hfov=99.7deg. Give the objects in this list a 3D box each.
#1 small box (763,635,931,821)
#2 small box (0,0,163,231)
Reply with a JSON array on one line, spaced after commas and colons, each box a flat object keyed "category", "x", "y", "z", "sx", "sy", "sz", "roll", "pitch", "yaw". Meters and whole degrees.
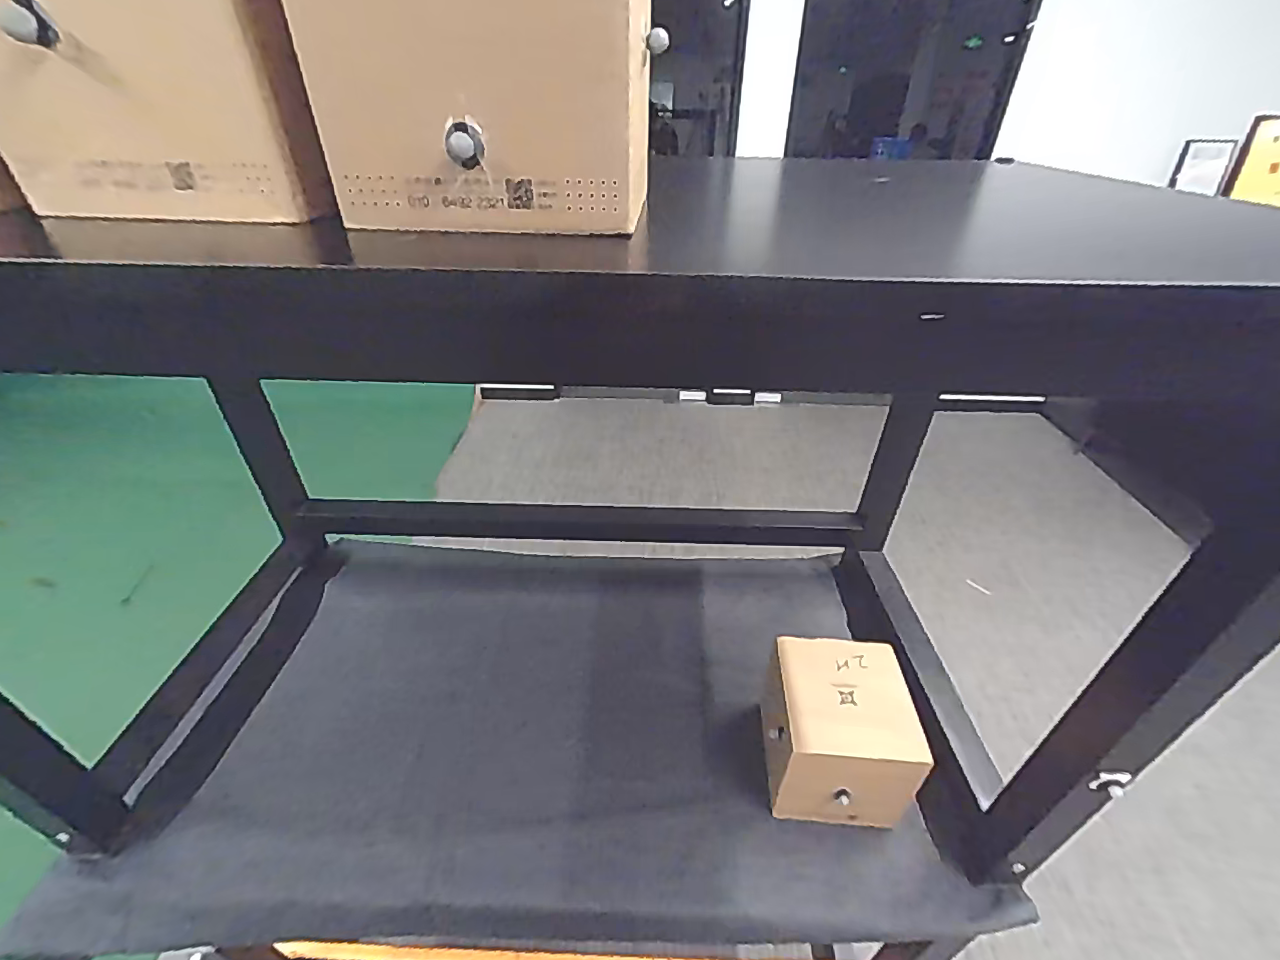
[{"category": "small box", "x": 0.272, "y": 0.345, "z": 0.755, "sx": 0.168, "sy": 0.176, "sz": 0.179, "roll": 4, "pitch": 35, "yaw": 4}, {"category": "small box", "x": -0.468, "y": -0.267, "z": 0.348, "sx": 0.168, "sy": 0.176, "sz": 0.179, "roll": 2, "pitch": 36, "yaw": 2}]
